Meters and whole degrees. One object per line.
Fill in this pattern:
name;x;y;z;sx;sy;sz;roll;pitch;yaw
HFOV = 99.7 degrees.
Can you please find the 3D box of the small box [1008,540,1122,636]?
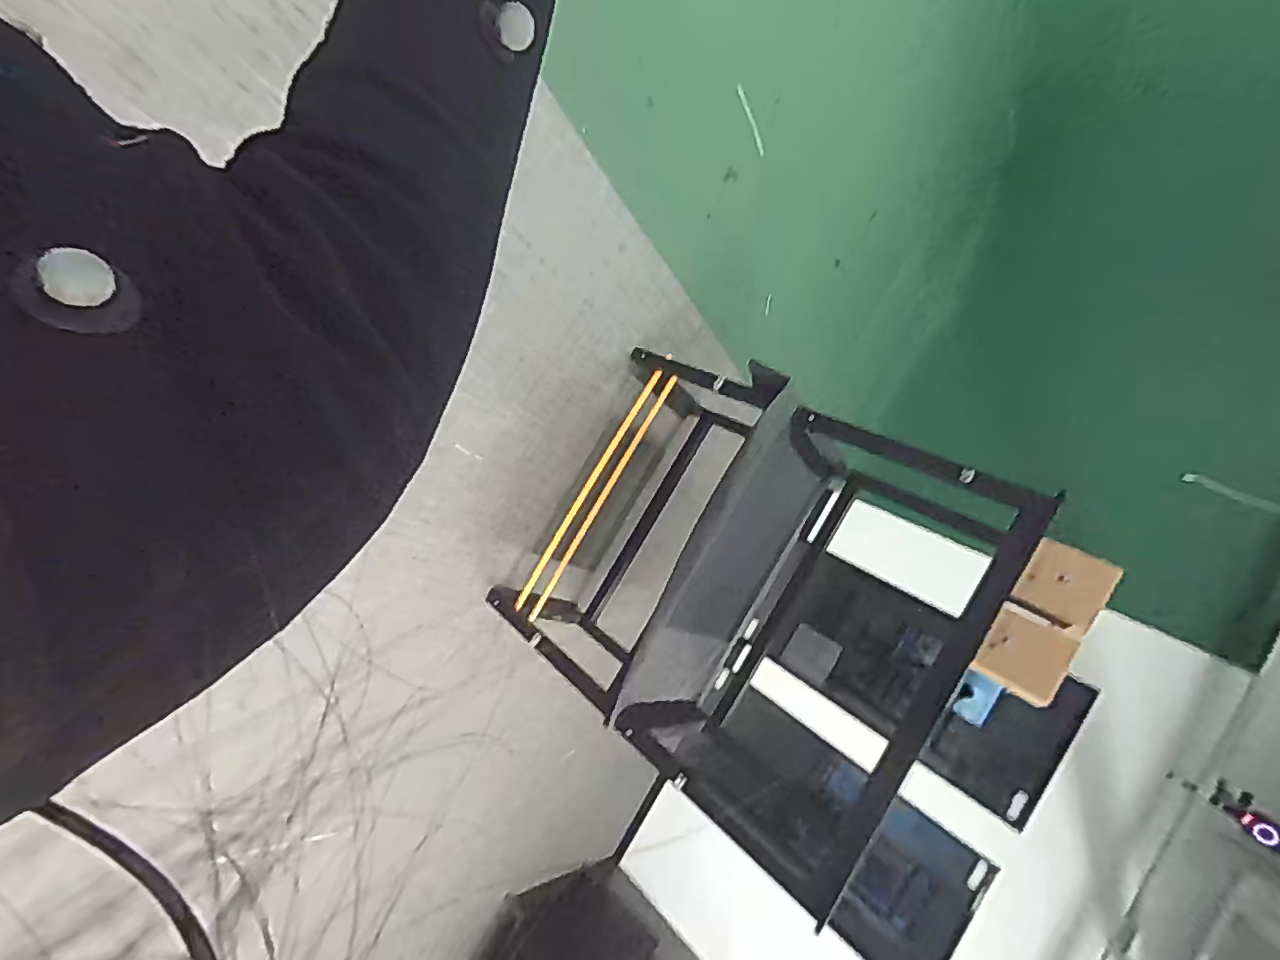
small box;1.054;0.269;1.357;0.168;0.176;0.179;-59;144;-1
